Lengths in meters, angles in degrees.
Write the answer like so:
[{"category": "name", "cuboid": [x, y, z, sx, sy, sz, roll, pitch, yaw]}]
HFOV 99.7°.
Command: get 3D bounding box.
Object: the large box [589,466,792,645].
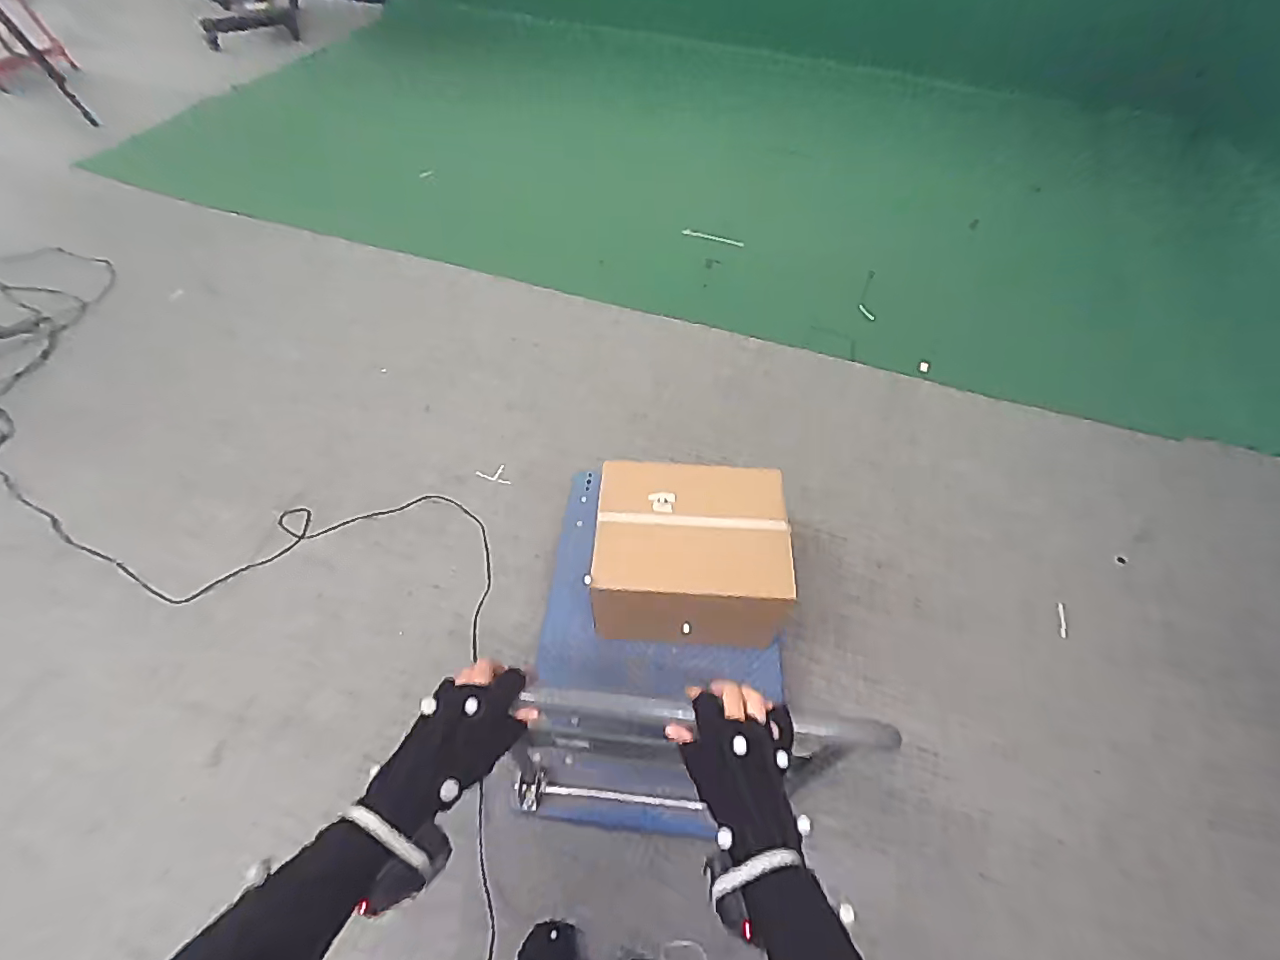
[{"category": "large box", "cuboid": [0.107, 0.183, 1.261, 0.408, 0.320, 0.320, 2, 54, 2]}]
